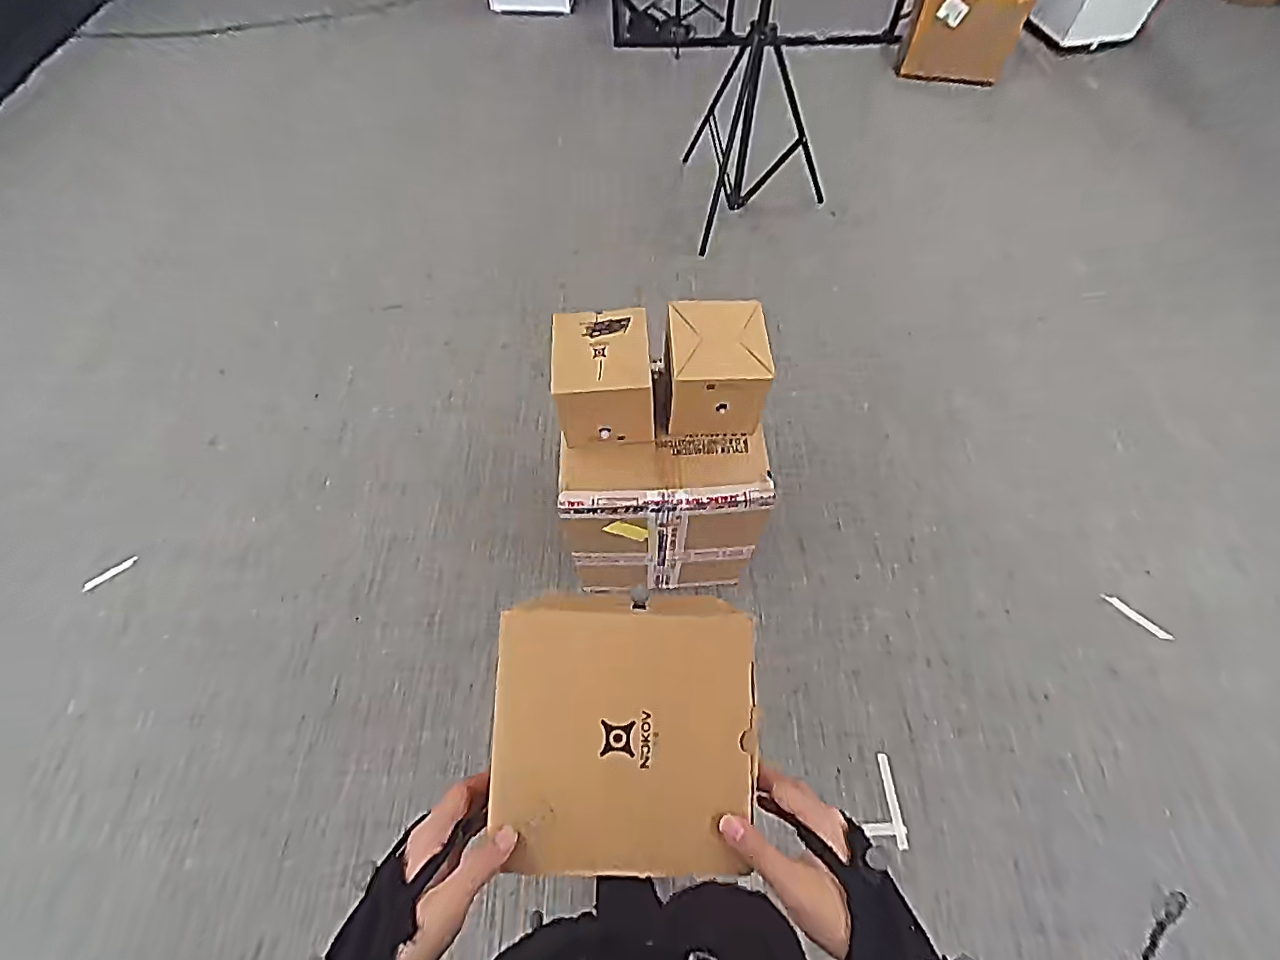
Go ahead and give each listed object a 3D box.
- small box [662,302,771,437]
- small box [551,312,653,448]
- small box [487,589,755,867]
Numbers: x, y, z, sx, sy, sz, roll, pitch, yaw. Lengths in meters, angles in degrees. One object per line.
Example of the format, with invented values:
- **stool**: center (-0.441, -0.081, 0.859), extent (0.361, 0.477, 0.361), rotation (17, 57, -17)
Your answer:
- **small box**: center (0.131, -0.197, 0.984), extent (0.168, 0.176, 0.179), rotation (-1, 62, -3)
- **small box**: center (-0.064, -0.177, 0.978), extent (0.168, 0.176, 0.179), rotation (-4, 62, 1)
- **small box**: center (-0.012, 0.178, 0.438), extent (0.179, 0.176, 0.168), rotation (2, 82, -2)
